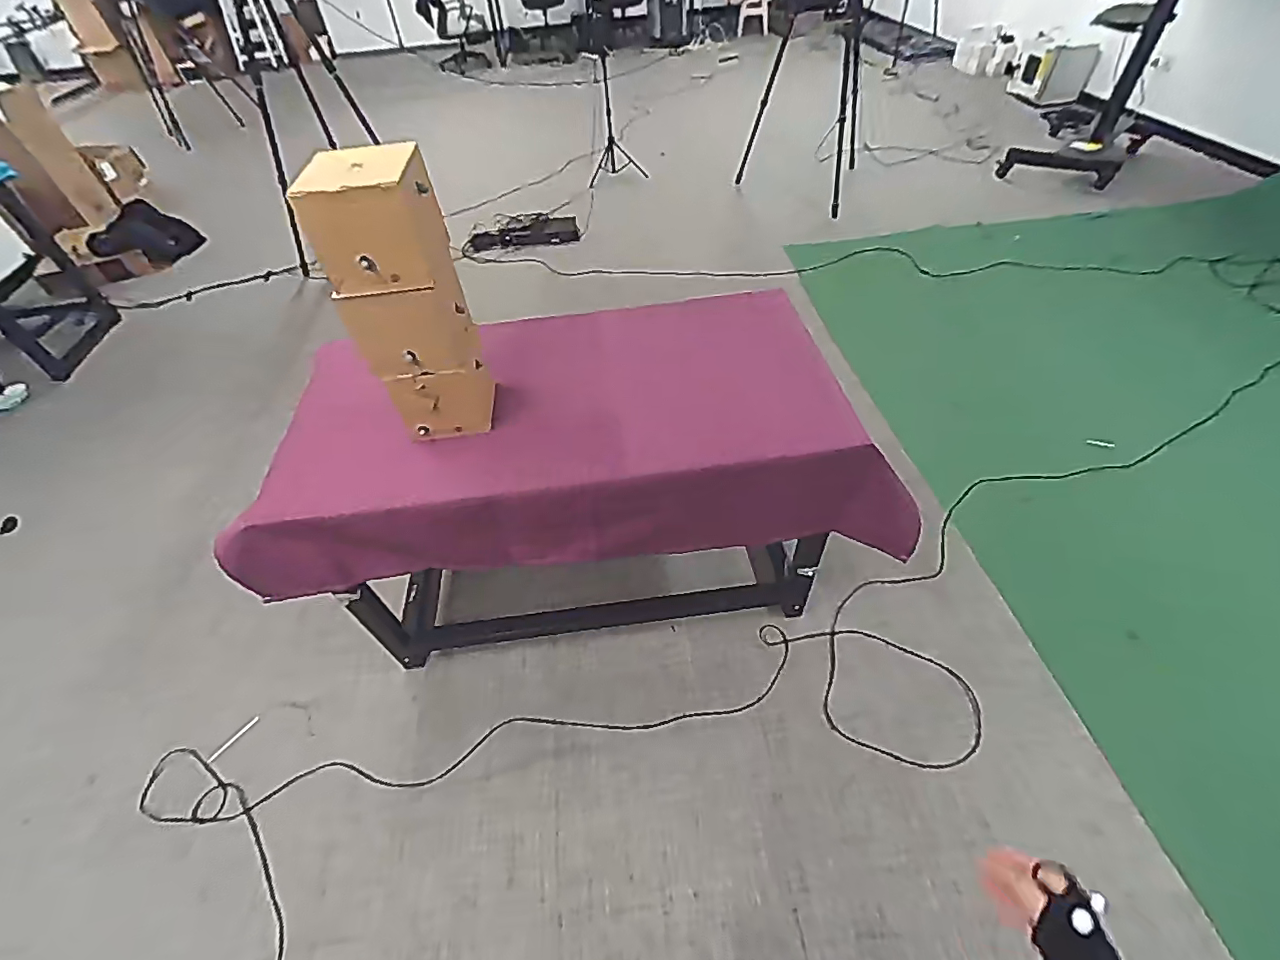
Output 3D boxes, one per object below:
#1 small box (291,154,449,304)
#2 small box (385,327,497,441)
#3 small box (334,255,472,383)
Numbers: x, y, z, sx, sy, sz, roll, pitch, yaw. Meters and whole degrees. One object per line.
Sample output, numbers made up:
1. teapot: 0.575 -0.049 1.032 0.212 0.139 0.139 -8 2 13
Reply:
1. small box: -0.432 -0.417 0.901 0.168 0.176 0.179 -8 49 -1
2. small box: -0.407 -0.196 1.142 0.168 0.176 0.179 -7 47 -2
3. small box: -0.430 -0.303 1.018 0.179 0.176 0.168 -6 48 -1
